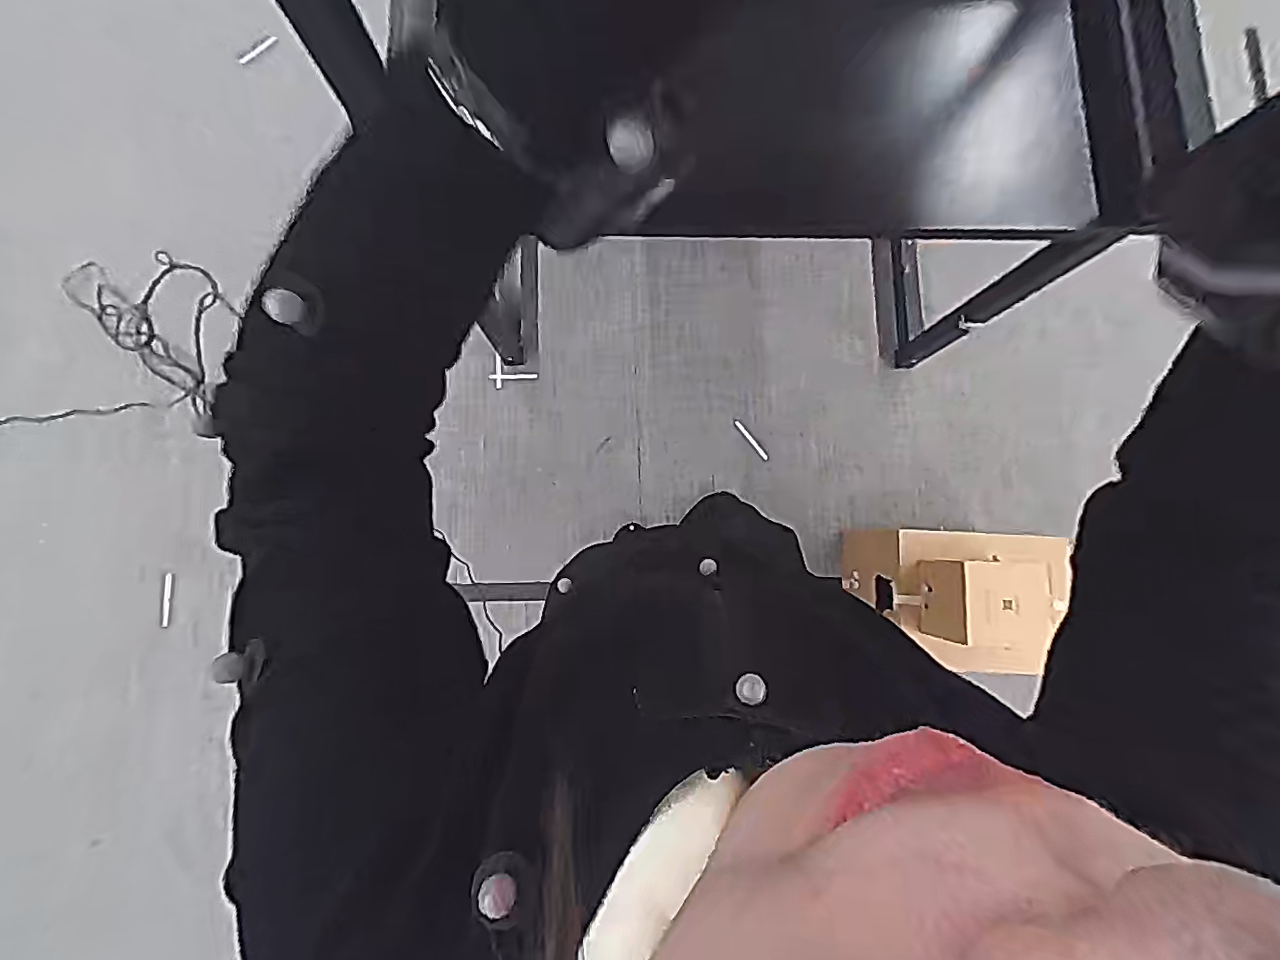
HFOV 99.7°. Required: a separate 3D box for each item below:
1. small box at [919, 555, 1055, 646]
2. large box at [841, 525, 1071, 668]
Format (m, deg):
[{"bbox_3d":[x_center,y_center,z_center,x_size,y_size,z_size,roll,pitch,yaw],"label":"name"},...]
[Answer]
[{"bbox_3d":[0.709,0.243,1.119,0.179,0.176,0.168,3,82,-2],"label":"small box"},{"bbox_3d":[0.764,0.278,1.364,0.408,0.320,0.320,3,85,-3],"label":"large box"}]
